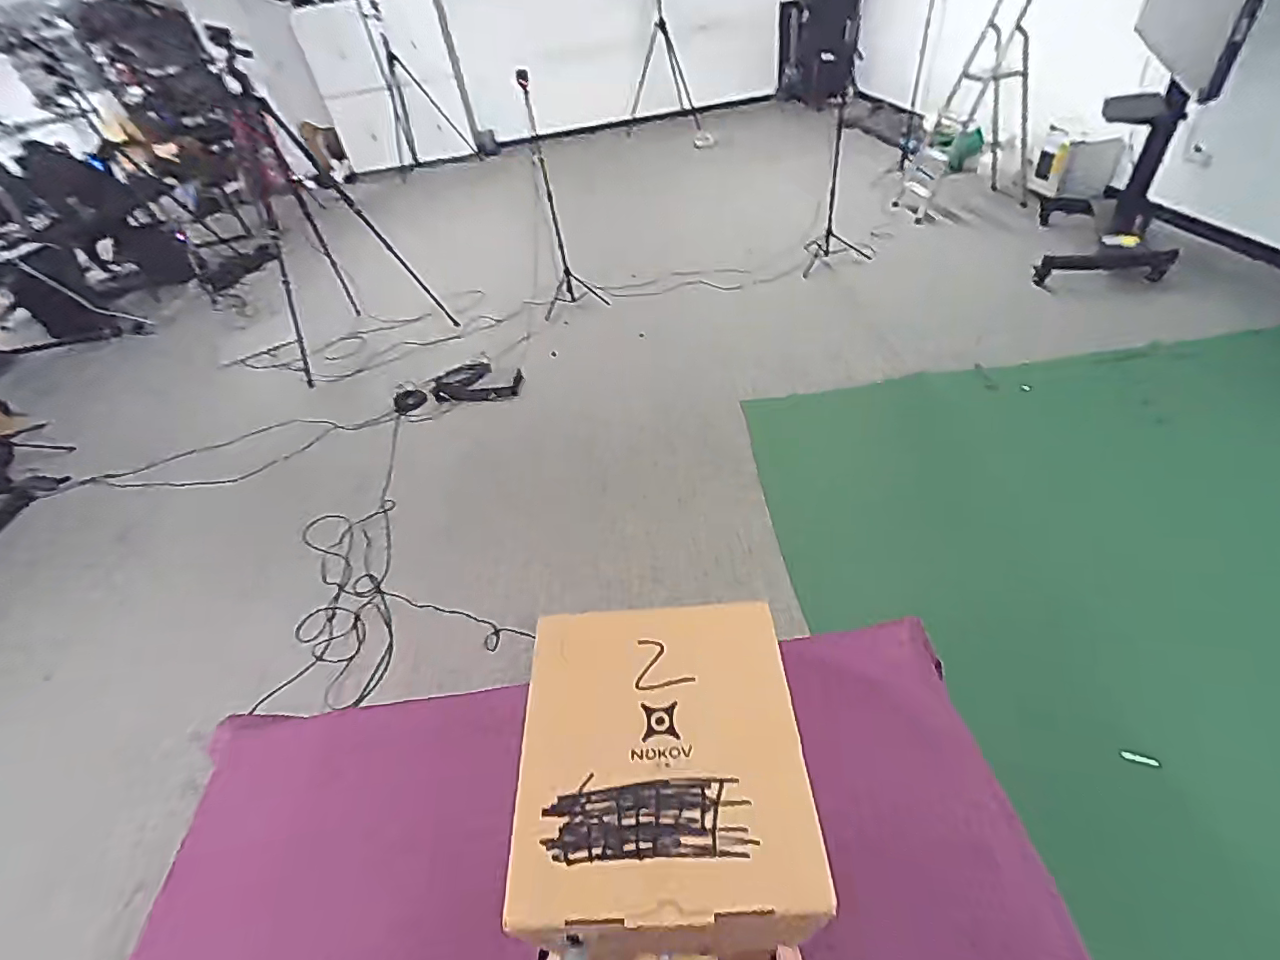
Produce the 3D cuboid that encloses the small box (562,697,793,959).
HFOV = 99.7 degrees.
[{"bbox_3d":[0.030,0.319,0.493,0.168,0.176,0.179,-2,46,3],"label":"small box"}]
